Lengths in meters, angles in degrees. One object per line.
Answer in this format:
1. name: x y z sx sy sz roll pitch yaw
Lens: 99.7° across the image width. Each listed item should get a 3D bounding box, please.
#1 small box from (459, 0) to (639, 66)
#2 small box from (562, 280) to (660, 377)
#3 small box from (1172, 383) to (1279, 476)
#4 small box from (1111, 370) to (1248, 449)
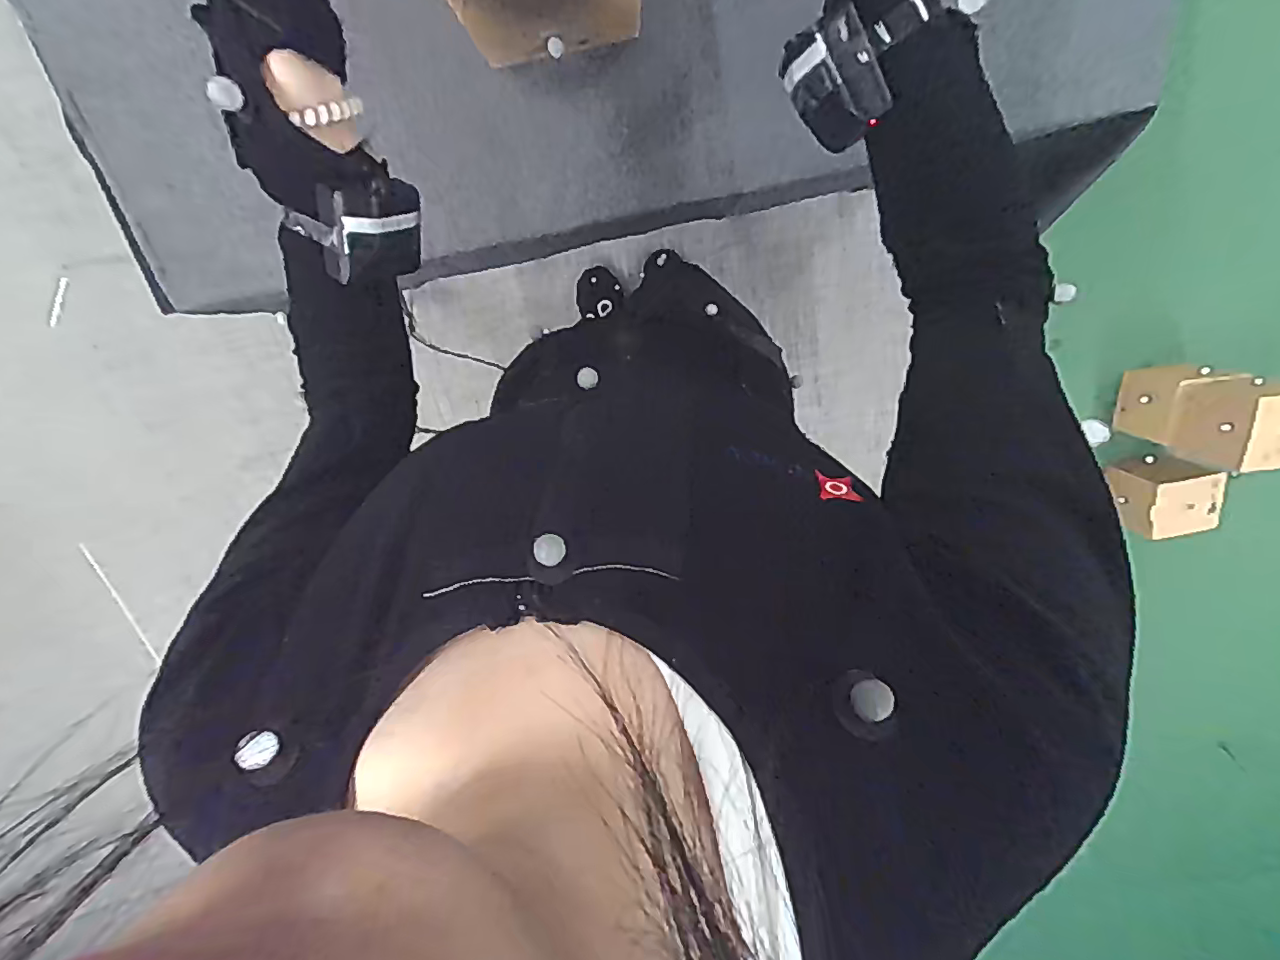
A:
1. small box: -0.095 -0.515 0.482 0.168 0.176 0.179 -10 111 3
2. small box: -0.075 -0.375 1.329 0.179 0.176 0.168 26 122 7
3. small box: 1.400 -0.124 1.252 0.168 0.176 0.179 -7 110 1
4. small box: 1.386 -0.187 1.405 0.179 0.176 0.168 -6 110 1
